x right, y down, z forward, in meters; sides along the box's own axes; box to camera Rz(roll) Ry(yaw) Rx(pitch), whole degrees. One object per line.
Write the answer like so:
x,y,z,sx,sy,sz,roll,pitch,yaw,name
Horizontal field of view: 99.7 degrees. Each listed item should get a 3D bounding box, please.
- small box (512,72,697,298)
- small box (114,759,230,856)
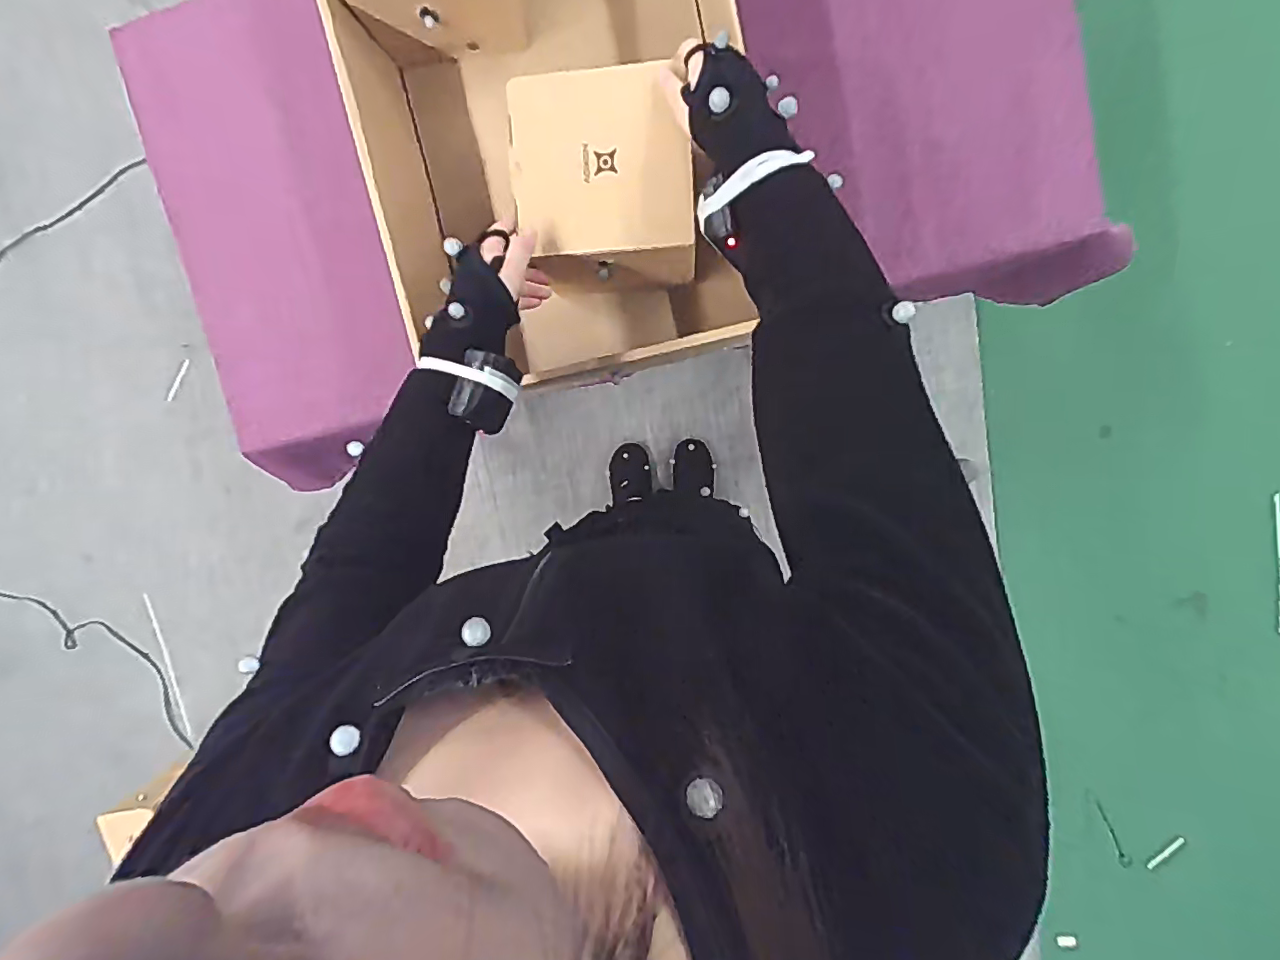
-0.026,-0.308,0.603,0.179,0.176,0.168,-2,96,8,small box
-1.325,0.930,1.548,0.179,0.176,0.168,-13,96,9,small box
